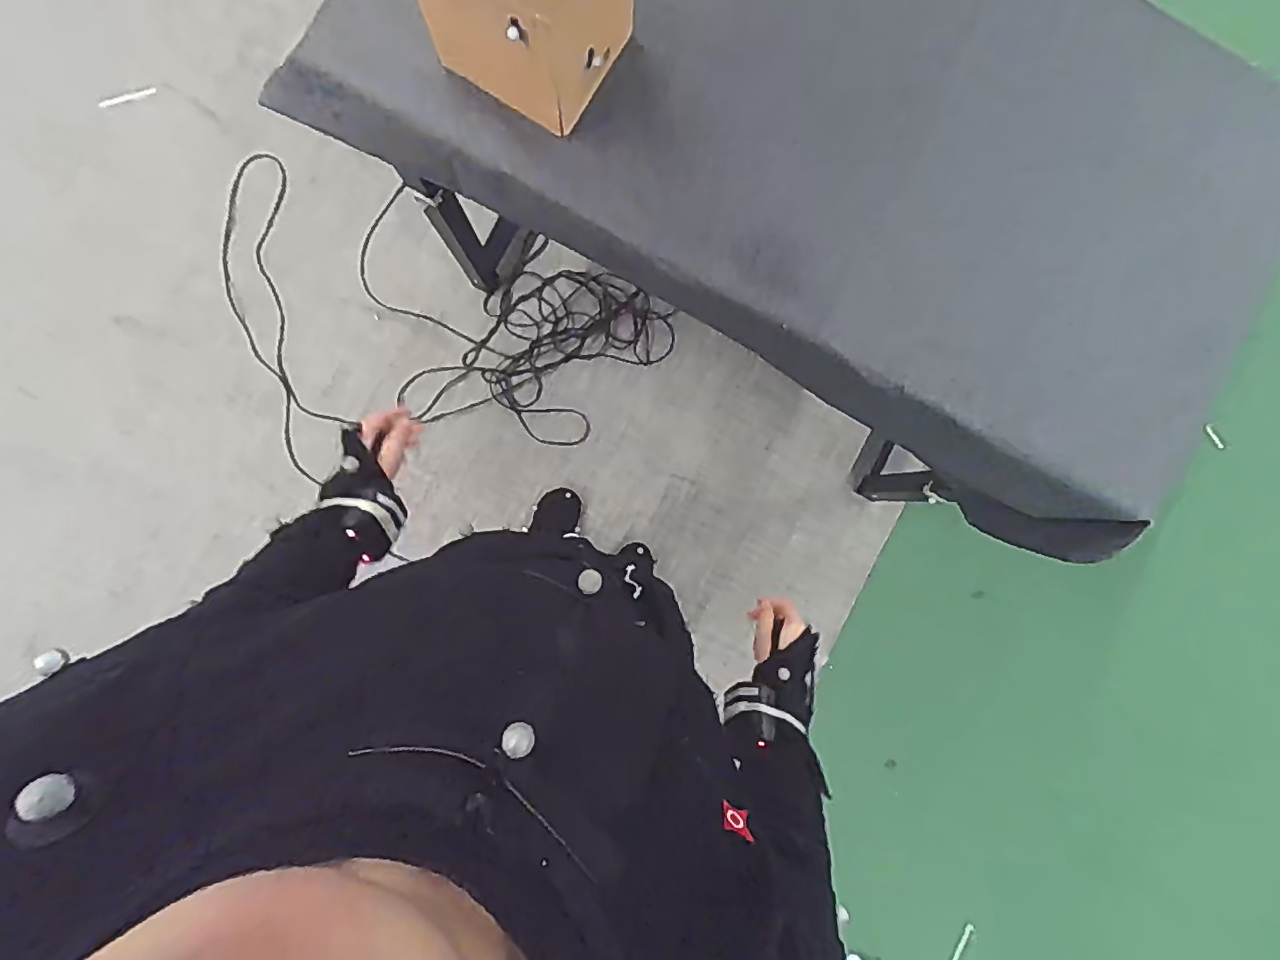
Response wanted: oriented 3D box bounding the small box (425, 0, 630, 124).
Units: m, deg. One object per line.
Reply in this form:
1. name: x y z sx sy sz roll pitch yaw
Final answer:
1. small box: -0.121 -0.534 0.576 0.179 0.176 0.168 31 86 -4
